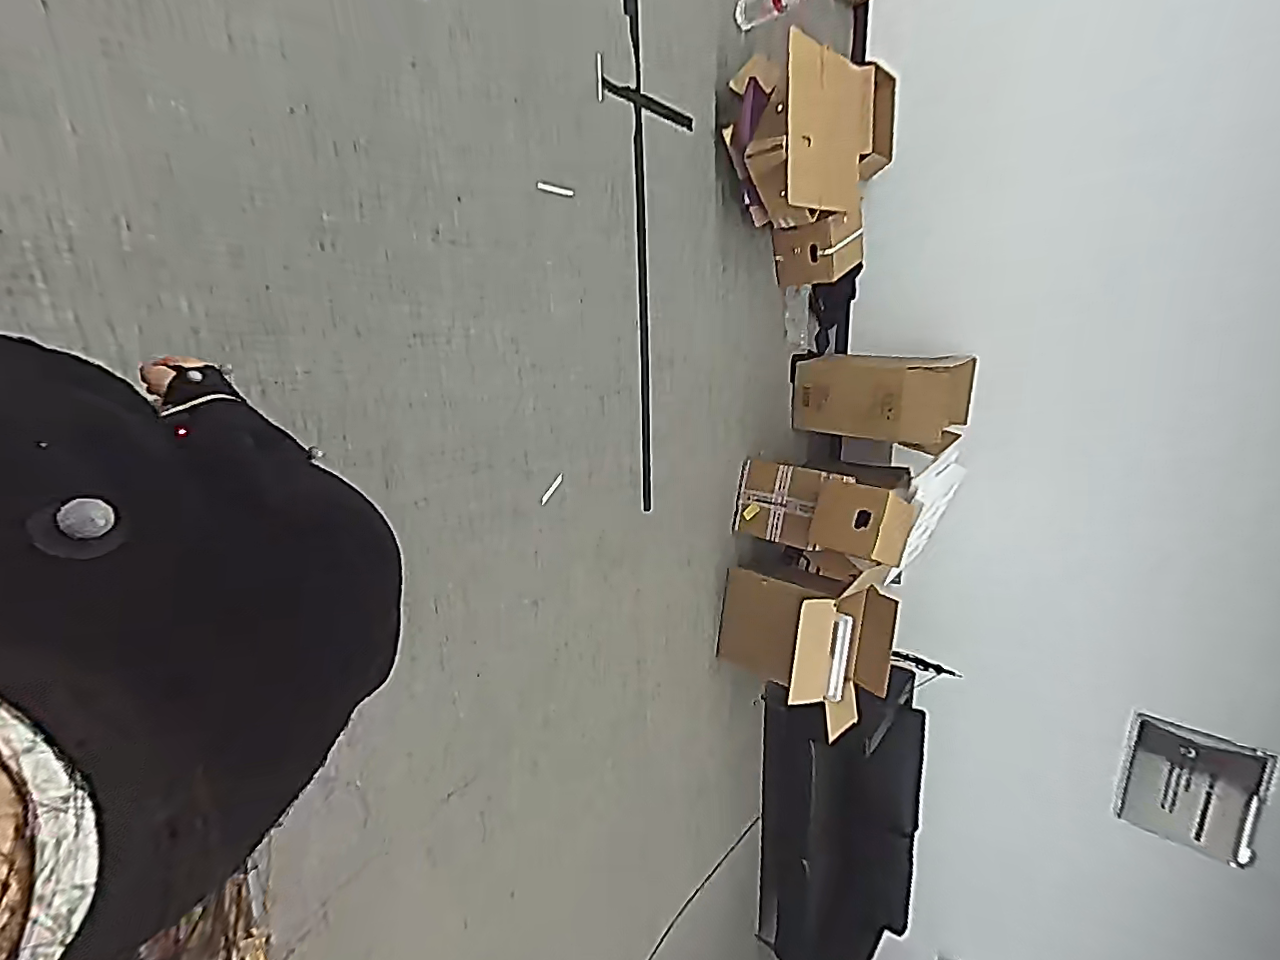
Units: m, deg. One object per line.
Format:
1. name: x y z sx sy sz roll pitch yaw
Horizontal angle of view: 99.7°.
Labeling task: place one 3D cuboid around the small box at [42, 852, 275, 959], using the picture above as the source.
1. small box: -0.511 0.555 0.589 0.168 0.176 0.179 -18 111 -45
